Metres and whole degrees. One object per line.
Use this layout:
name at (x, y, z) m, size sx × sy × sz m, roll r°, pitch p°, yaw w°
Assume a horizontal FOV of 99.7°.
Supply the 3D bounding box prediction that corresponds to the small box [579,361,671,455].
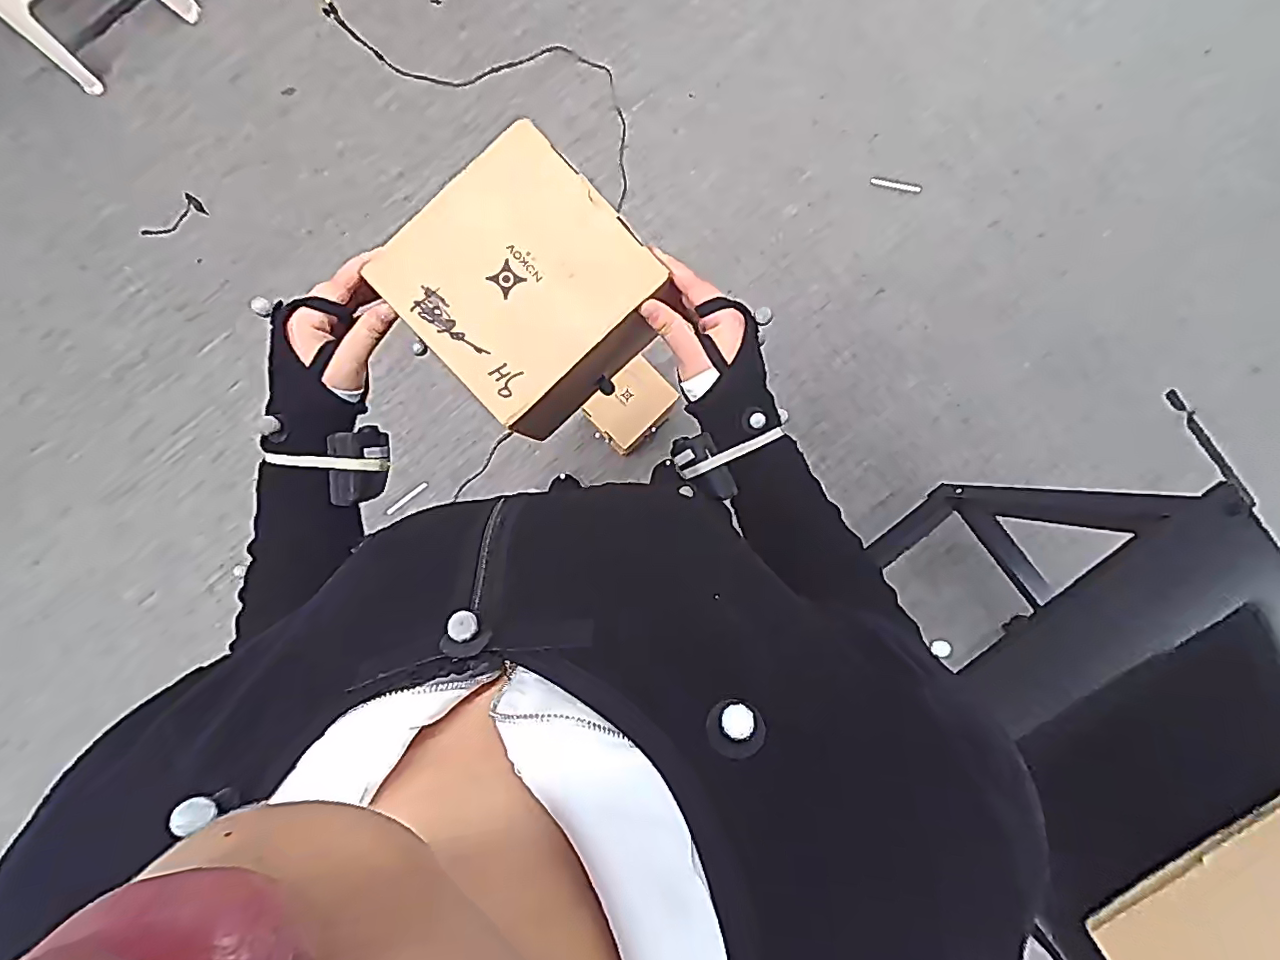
small box at (-0.040, -0.183, 1.424) m, size 0.179 × 0.176 × 0.168 m, roll -42°, pitch 91°, yaw 1°
